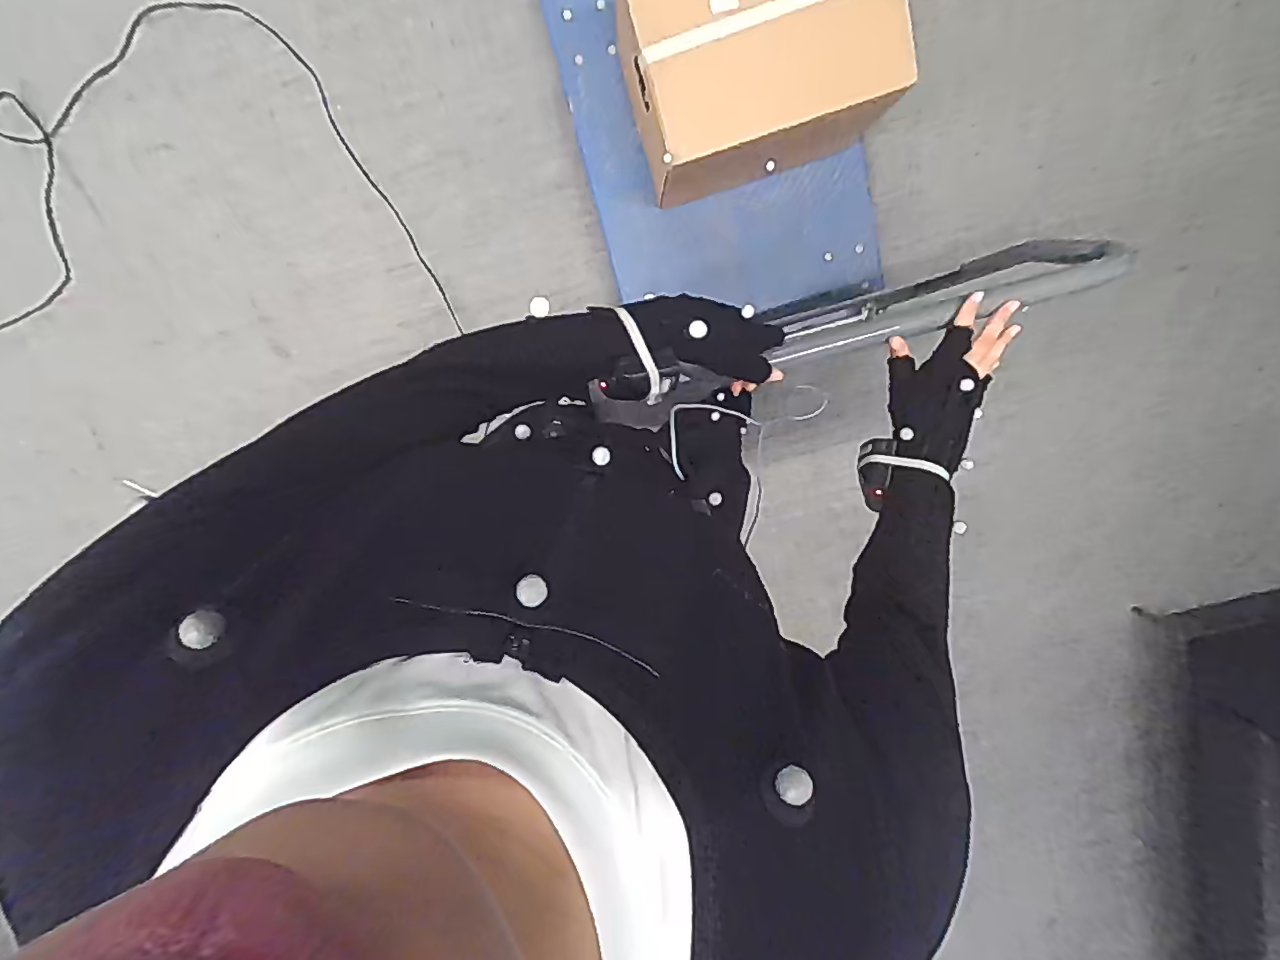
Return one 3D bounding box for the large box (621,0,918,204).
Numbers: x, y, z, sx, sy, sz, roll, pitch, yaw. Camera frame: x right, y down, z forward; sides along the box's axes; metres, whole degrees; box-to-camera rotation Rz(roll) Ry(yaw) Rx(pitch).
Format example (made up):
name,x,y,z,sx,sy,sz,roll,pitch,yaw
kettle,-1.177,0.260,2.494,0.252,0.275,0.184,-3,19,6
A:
name,x,y,z,sx,sy,sz,roll,pitch,yaw
large box,0.203,-0.748,0.967,0.408,0.320,0.320,-17,103,5
